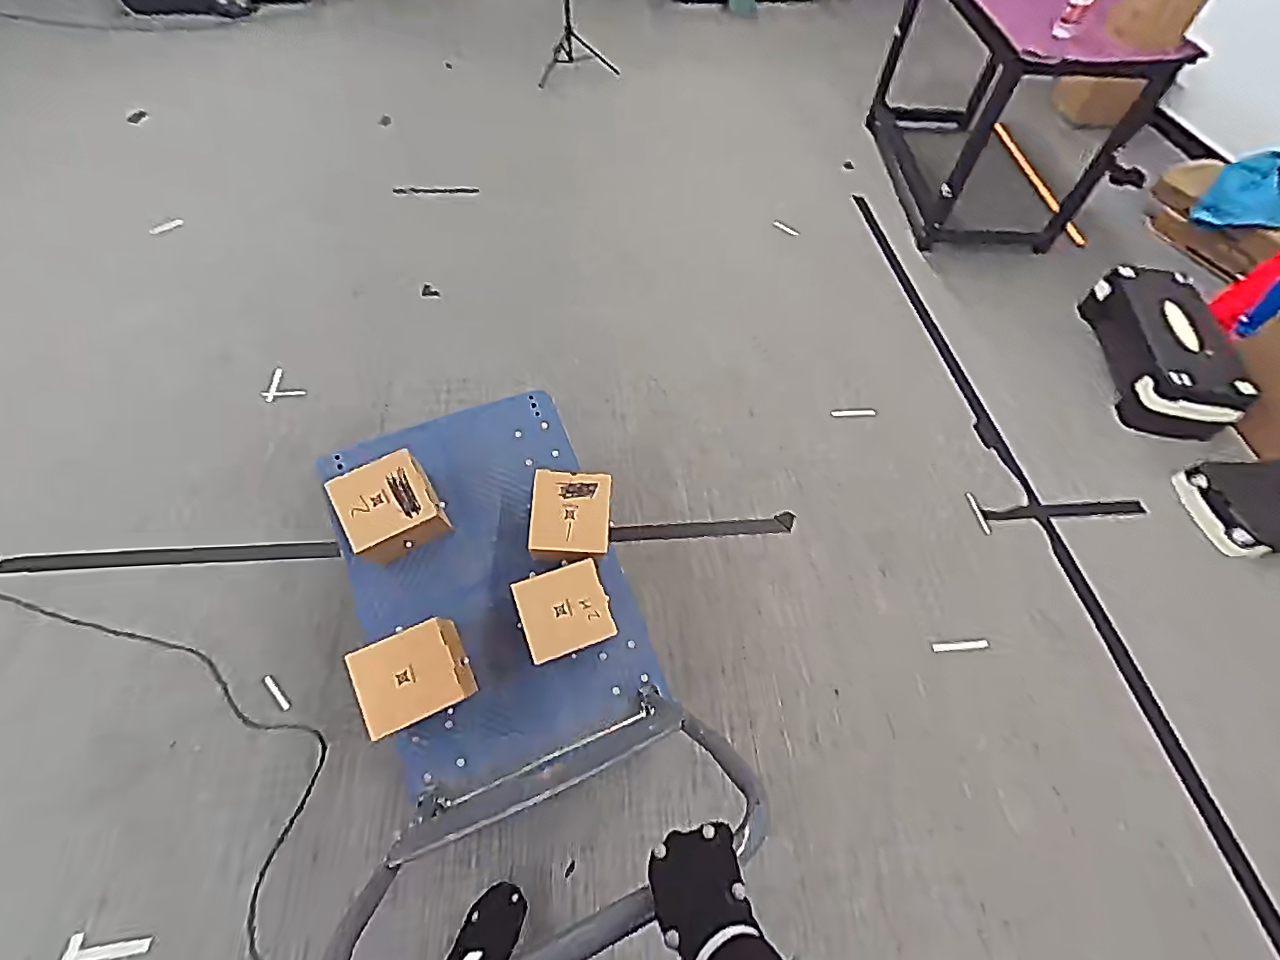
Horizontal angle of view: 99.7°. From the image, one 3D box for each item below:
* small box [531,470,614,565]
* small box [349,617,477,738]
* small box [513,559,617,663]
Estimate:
[{"bbox_3d":[-0.153,0.090,1.224,0.168,0.176,0.179,4,73,-6],"label":"small box"},{"bbox_3d":[-0.448,0.393,1.090,0.179,0.176,0.168,-22,77,-15],"label":"small box"},{"bbox_3d":[-0.159,0.284,1.161,0.179,0.176,0.168,-17,76,-12],"label":"small box"}]
